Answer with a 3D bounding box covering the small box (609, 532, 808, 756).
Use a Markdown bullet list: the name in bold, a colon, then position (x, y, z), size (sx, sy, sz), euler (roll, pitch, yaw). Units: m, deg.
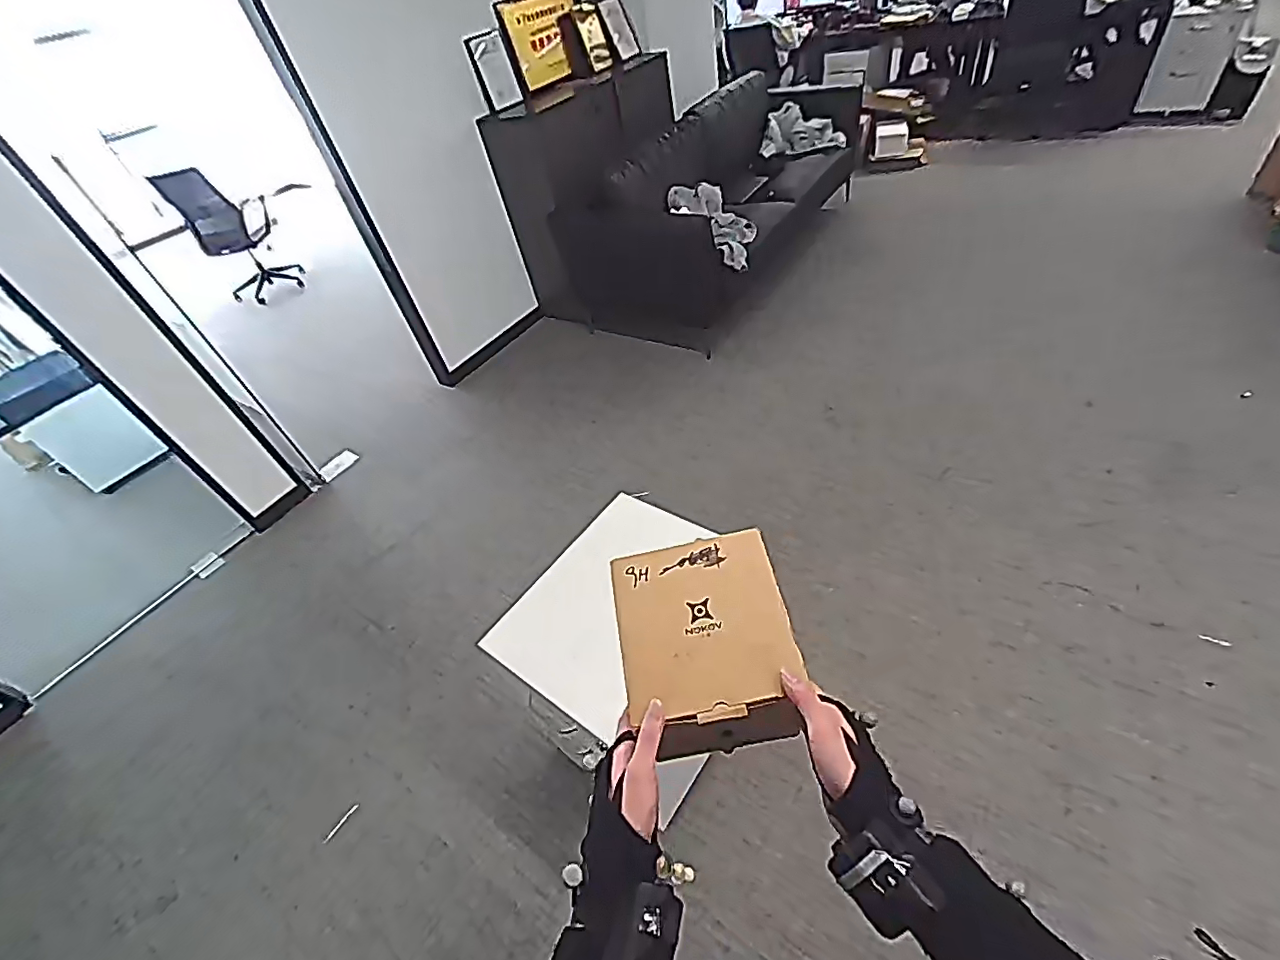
- **small box**: position (0.073, 0.189, 0.596), size (0.168, 0.176, 0.179), euler (-15, 52, 1)
